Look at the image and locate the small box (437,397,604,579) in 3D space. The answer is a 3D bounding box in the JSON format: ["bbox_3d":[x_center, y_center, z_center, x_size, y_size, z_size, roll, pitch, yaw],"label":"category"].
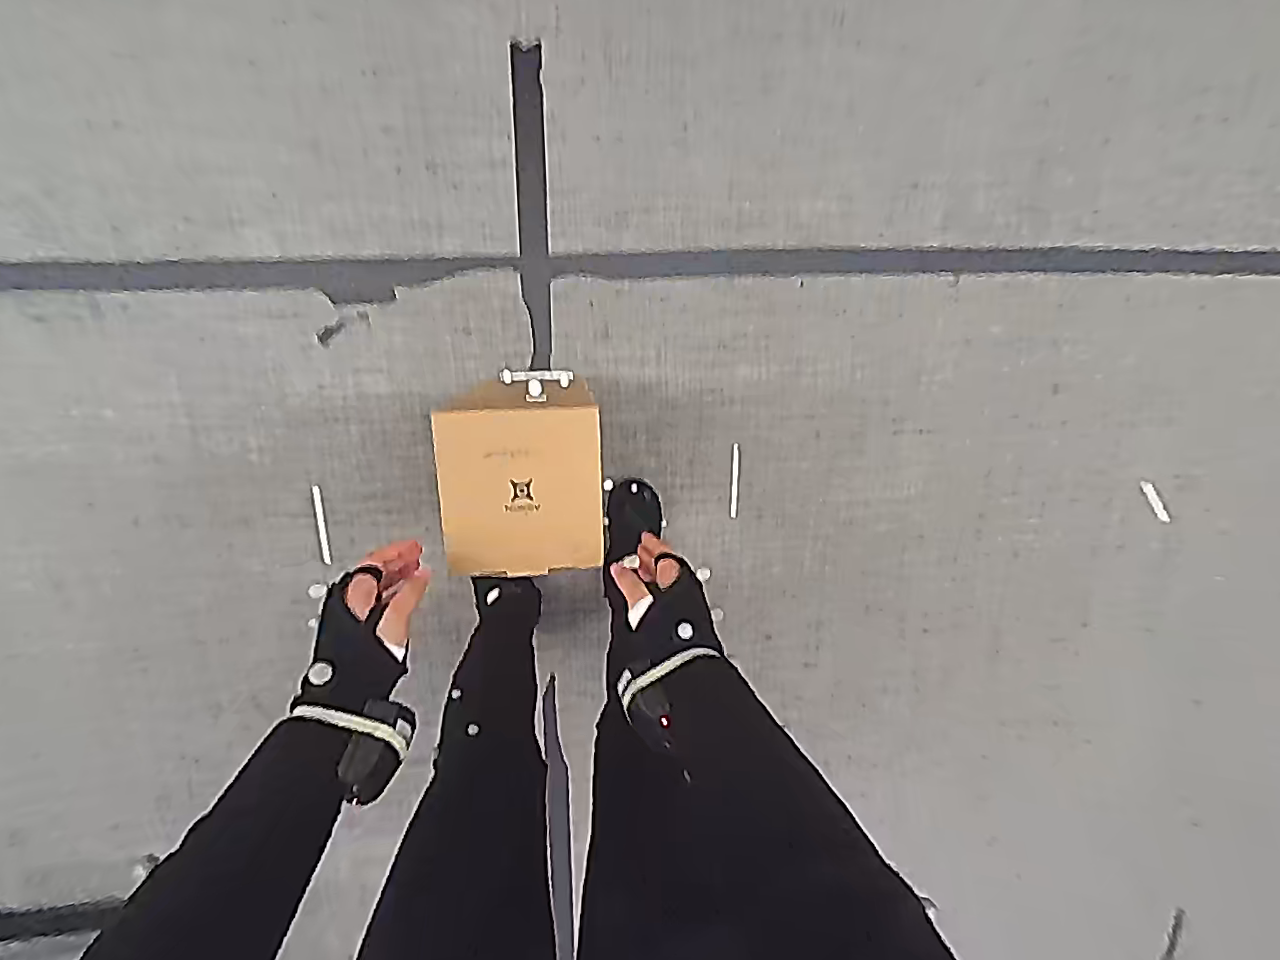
[{"bbox_3d":[-0.130,-0.001,0.637,0.168,0.176,0.179,-3,104,-8],"label":"small box"}]

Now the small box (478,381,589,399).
[{"bbox_3d":[-0.178,-0.083,0.950,0.179,0.176,0.168,-2,105,-8],"label":"small box"}]
